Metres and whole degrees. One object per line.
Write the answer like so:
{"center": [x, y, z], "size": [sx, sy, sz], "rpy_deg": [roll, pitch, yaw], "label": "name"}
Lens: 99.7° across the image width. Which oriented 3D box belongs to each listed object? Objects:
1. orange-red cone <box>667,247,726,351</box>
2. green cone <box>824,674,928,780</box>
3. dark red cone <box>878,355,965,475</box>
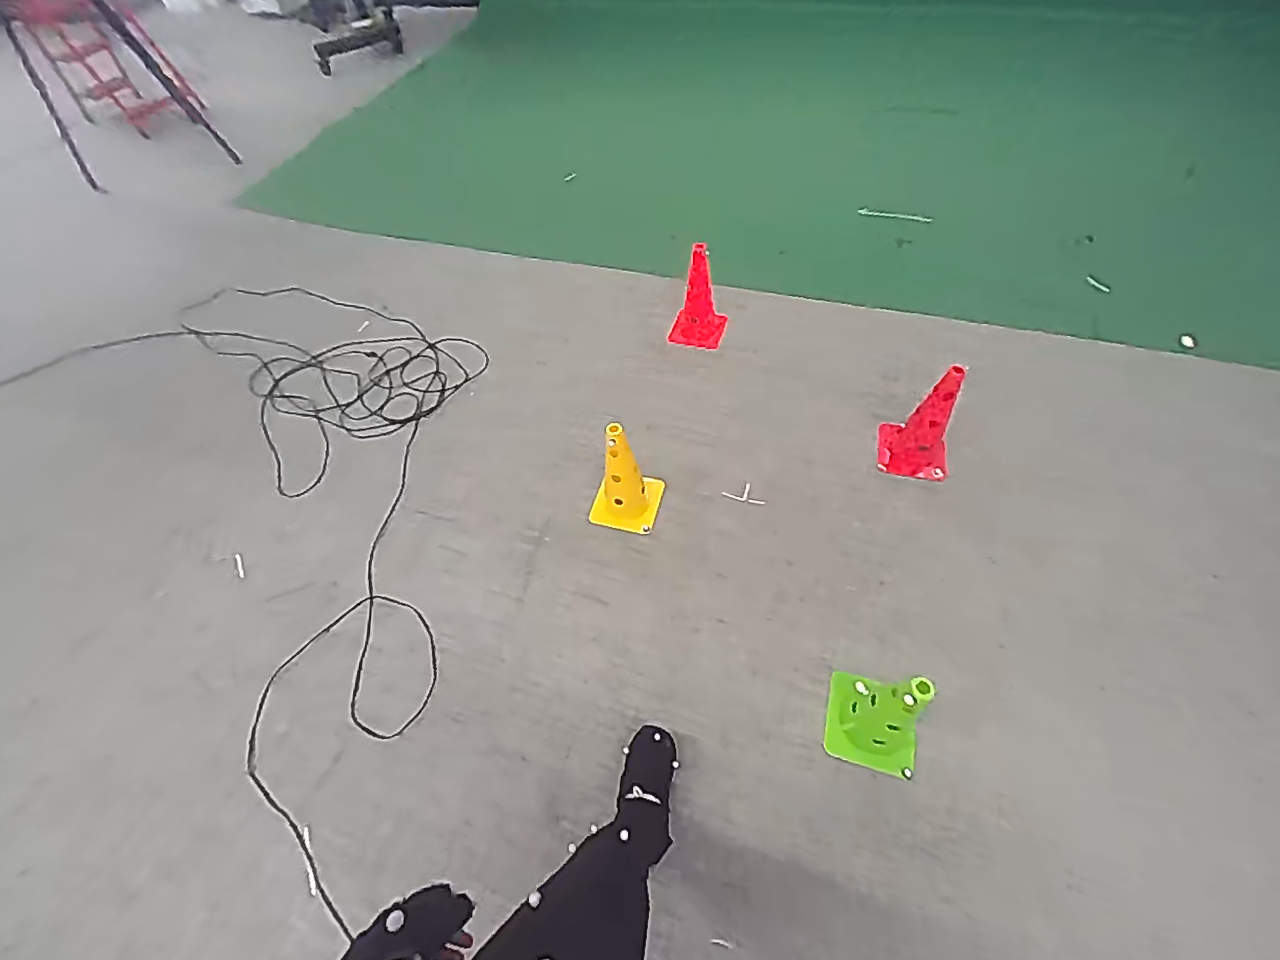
{"center": [0.204, -0.674, 1.962], "size": [0.198, 0.360, 0.199], "rpy_deg": [13, 59, 15], "label": "orange-red cone"}
{"center": [0.534, 0.482, 1.145], "size": [0.202, 0.368, 0.200], "rpy_deg": [12, 57, 14], "label": "green cone"}
{"center": [0.837, -0.197, 1.551], "size": [0.202, 0.394, 0.201], "rpy_deg": [9, 56, 11], "label": "dark red cone"}
